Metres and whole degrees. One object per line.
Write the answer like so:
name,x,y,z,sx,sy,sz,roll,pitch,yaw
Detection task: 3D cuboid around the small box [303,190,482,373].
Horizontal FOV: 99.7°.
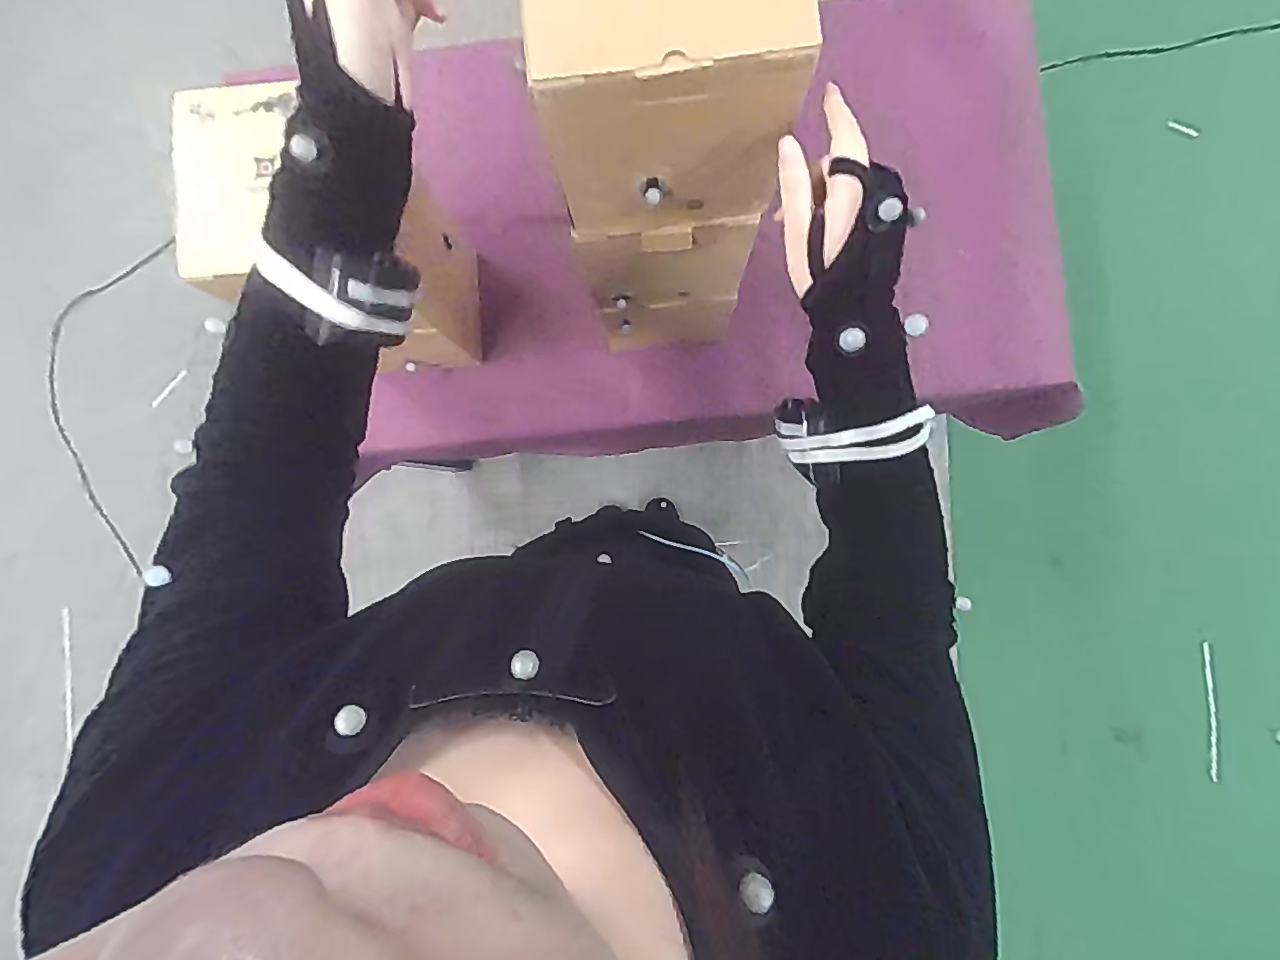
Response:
small box,-0.320,-0.253,0.723,0.168,0.176,0.179,-4,88,2

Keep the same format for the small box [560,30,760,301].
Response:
small box,0.020,-0.295,0.549,0.168,0.176,0.179,-5,86,2

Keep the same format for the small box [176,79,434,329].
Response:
small box,-0.325,-0.263,0.558,0.168,0.176,0.179,-3,88,1
